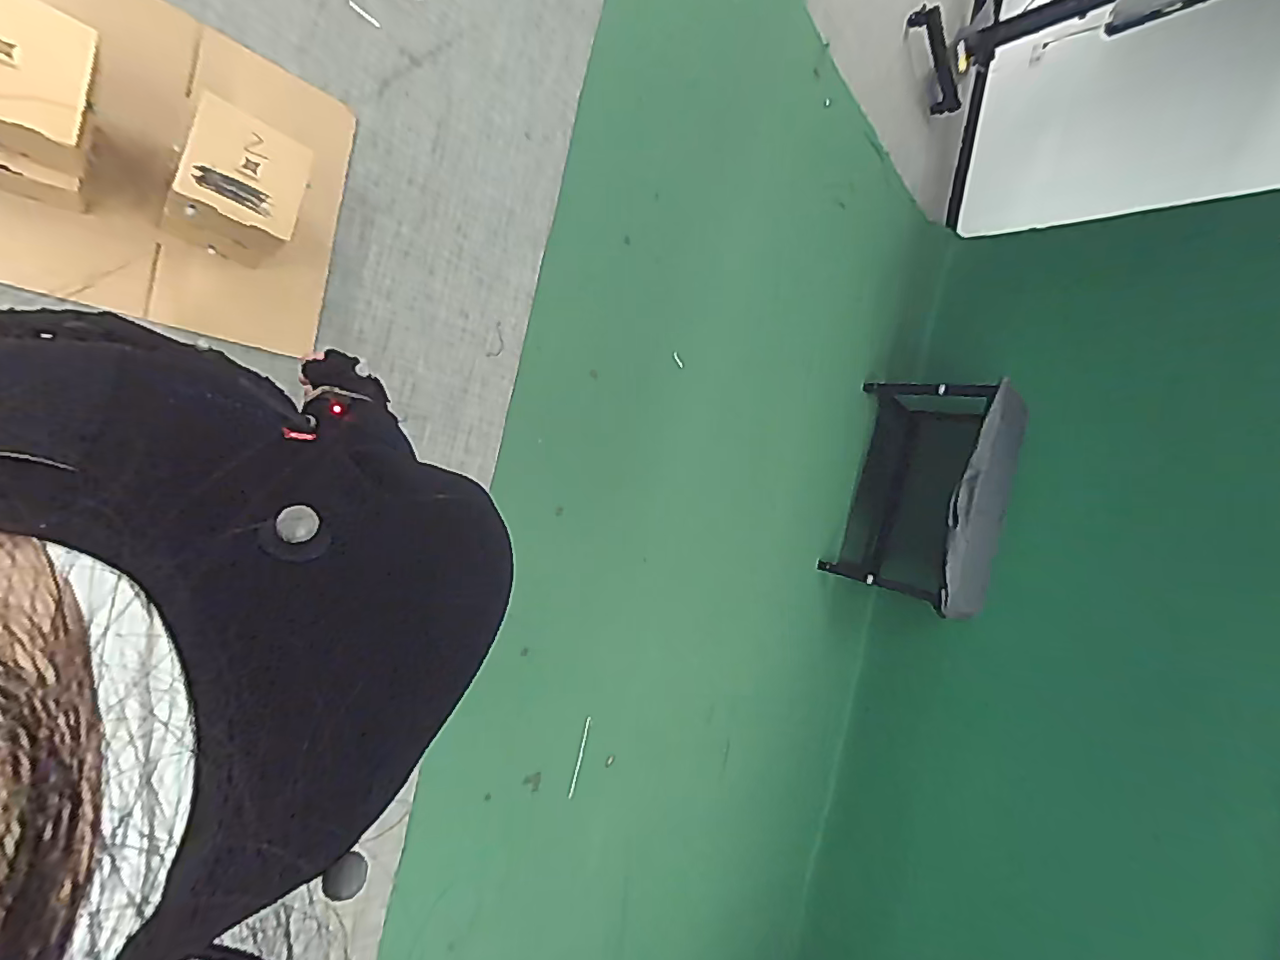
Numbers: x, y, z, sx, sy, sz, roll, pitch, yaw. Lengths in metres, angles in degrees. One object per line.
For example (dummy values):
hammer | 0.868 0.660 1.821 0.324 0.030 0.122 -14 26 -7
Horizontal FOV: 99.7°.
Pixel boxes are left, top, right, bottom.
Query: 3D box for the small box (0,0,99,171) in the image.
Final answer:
small box | -0.911 -0.588 0.775 0.168 0.176 0.179 12 89 -45

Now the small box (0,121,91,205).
small box | -1.032 -0.583 0.888 0.168 0.176 0.179 8 92 -45

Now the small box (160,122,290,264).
small box | -0.836 -0.562 1.086 0.168 0.176 0.179 17 86 -44
